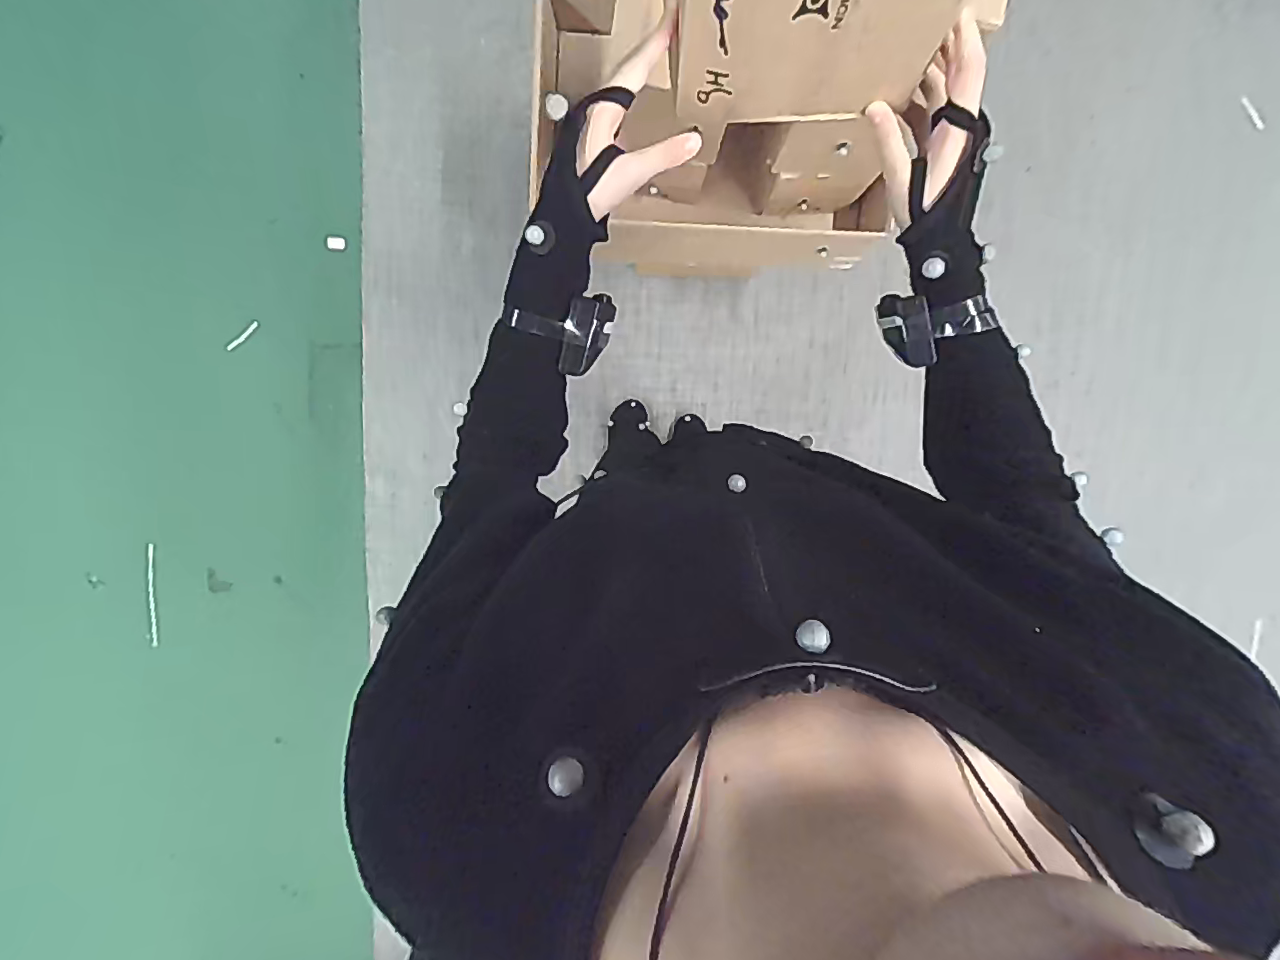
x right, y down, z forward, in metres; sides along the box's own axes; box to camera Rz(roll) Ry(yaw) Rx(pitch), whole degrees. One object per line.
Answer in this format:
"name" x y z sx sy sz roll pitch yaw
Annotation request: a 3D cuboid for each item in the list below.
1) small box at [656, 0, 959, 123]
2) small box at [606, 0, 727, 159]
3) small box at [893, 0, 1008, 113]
"small box" 0.104 -0.366 0.340 0.179 0.168 0.176 -4 76 -2
"small box" 0.054 -0.596 0.780 0.179 0.176 0.168 10 95 -2
"small box" 0.290 -0.550 0.611 0.179 0.176 0.168 7 96 2
